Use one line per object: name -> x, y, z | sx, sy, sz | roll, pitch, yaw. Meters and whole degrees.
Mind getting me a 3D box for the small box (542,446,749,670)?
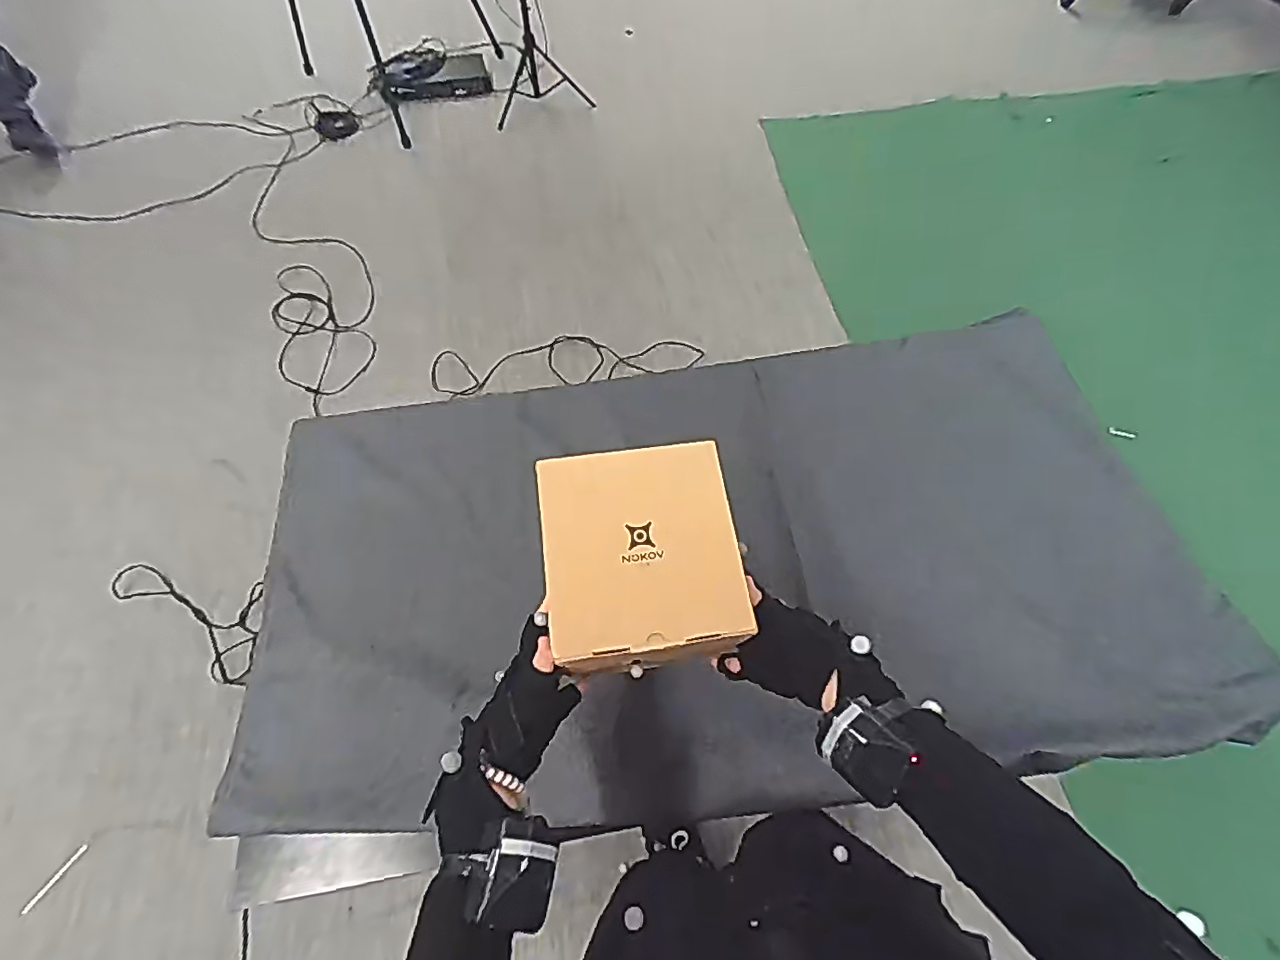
small box -> -0.006, 0.085, 0.542 | 0.168, 0.176, 0.179 | -6, 68, -6
